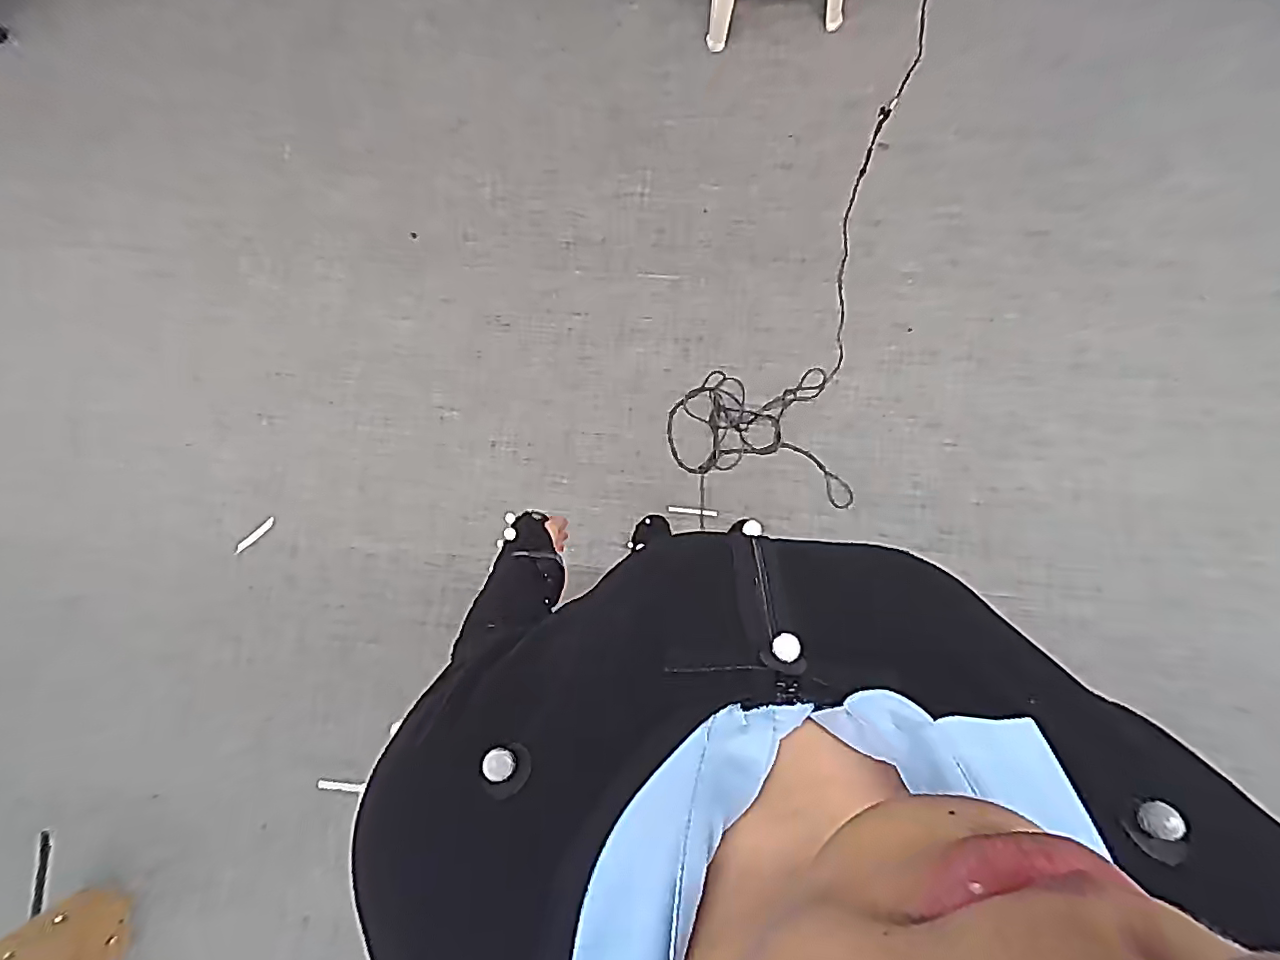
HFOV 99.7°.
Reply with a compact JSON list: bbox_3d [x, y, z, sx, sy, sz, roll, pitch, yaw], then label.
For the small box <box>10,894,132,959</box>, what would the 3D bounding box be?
[{"bbox_3d":[-1.591,1.303,1.515,0.179,0.176,0.168,-1,86,5],"label":"small box"}]
